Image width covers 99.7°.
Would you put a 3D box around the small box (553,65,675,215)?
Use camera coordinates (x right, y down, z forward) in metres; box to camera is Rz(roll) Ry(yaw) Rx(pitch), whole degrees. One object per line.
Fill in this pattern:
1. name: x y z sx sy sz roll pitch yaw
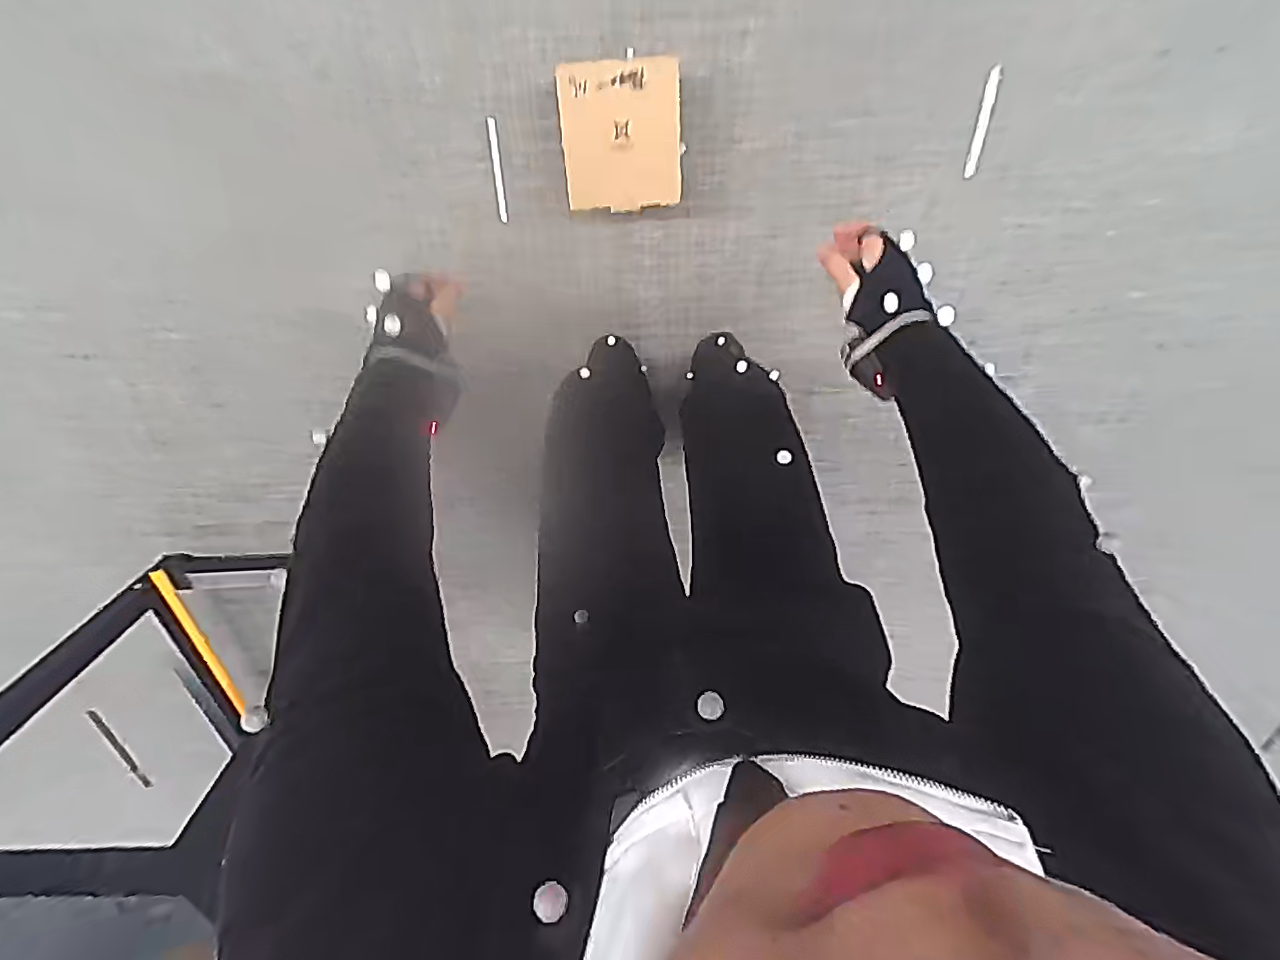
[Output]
1. small box: -0.031 -0.515 0.827 0.168 0.176 0.179 -2 121 1
